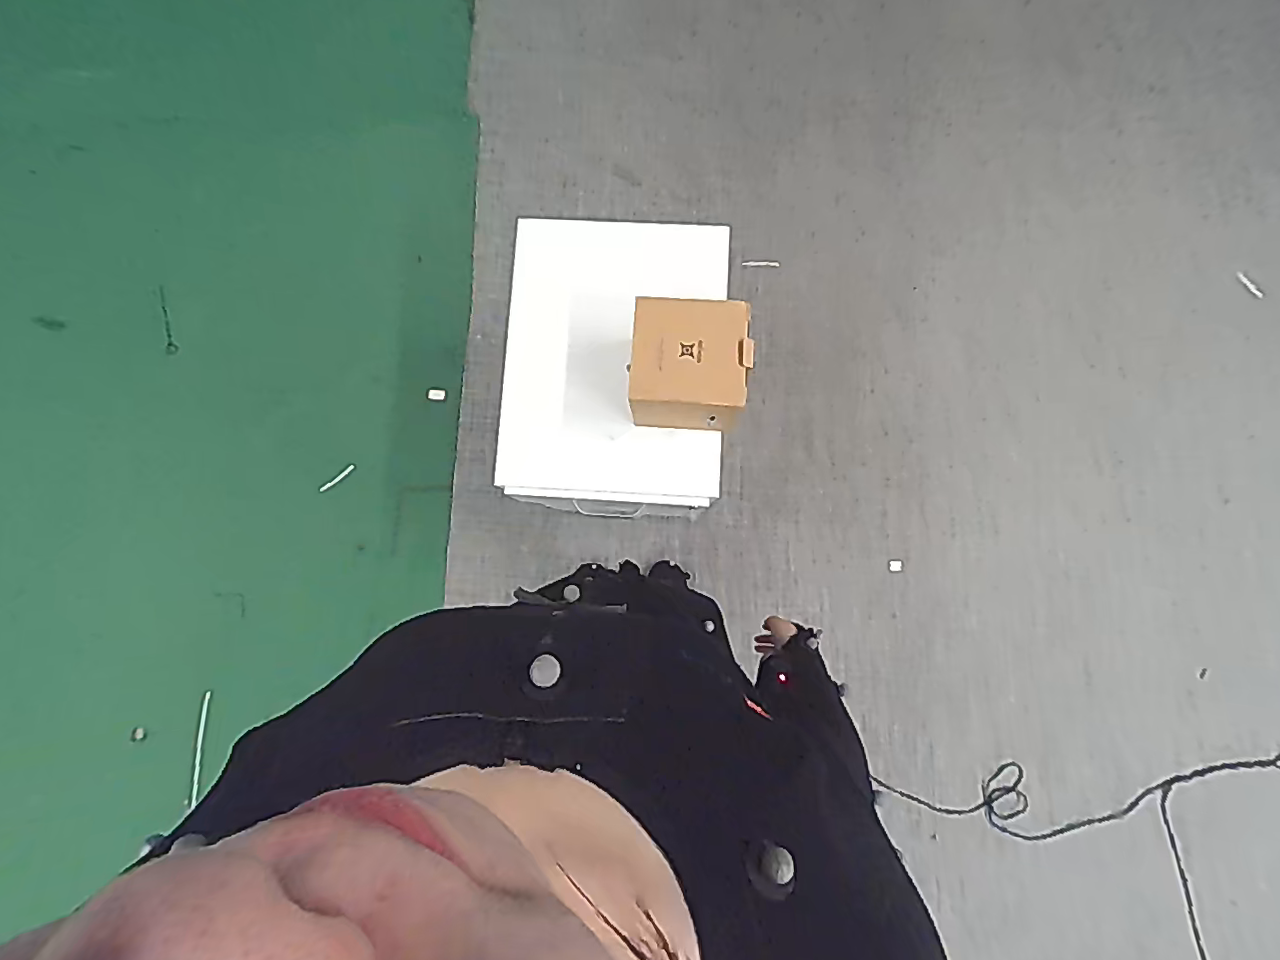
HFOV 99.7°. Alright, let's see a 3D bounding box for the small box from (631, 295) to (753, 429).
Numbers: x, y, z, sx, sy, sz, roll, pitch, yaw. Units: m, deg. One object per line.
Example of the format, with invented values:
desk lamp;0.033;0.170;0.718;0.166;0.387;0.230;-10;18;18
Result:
small box;0.081;-0.182;0.881;0.179;0.176;0.168;3;82;4
